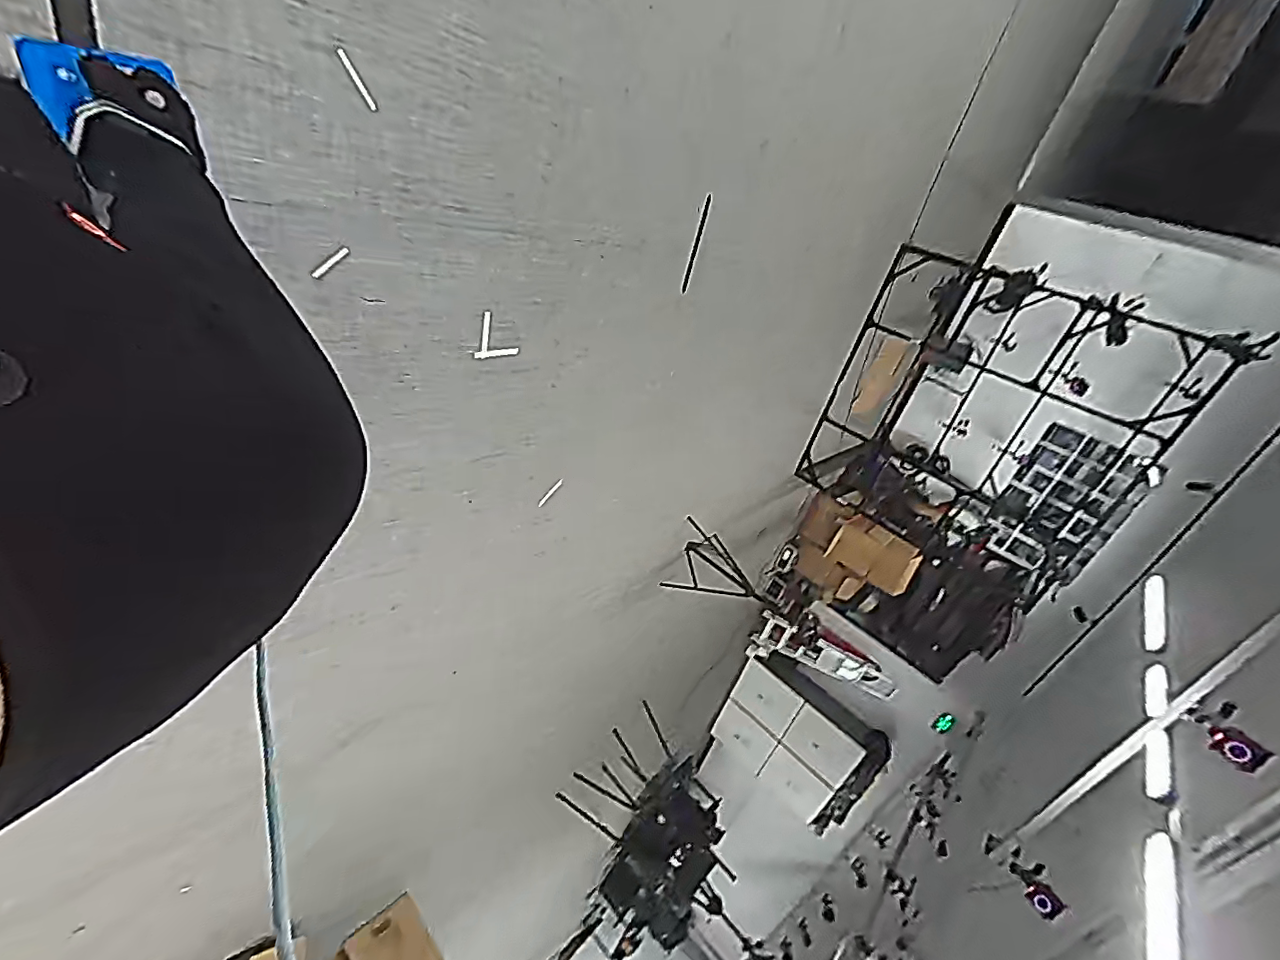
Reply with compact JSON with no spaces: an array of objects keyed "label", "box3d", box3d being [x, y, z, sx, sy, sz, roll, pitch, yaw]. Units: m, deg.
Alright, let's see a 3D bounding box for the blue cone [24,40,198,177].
[{"label":"blue cone","box3d":[-0.816,-0.564,0.879,0.192,0.380,0.193,-23,139,-45]}]
